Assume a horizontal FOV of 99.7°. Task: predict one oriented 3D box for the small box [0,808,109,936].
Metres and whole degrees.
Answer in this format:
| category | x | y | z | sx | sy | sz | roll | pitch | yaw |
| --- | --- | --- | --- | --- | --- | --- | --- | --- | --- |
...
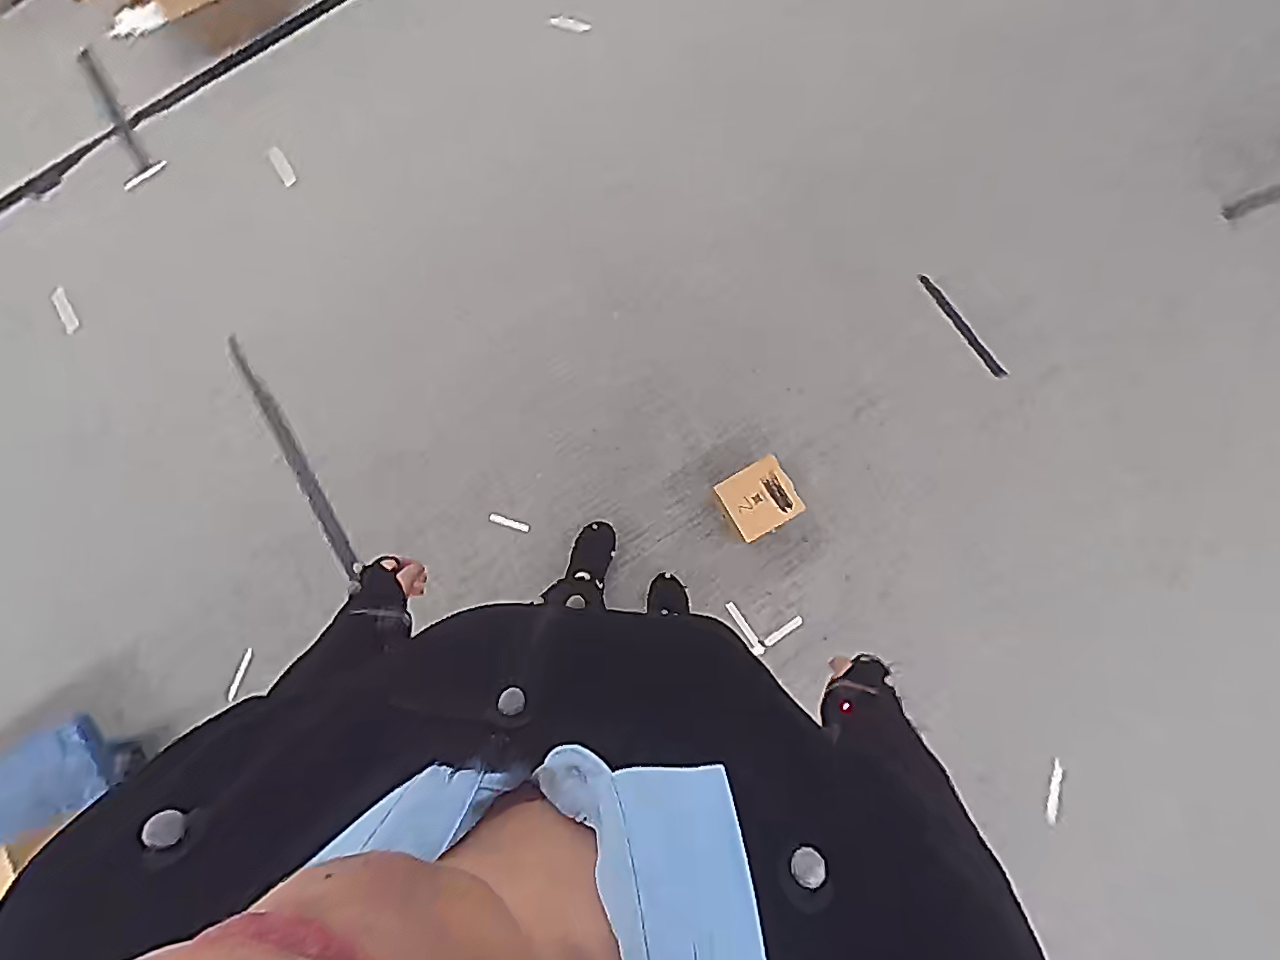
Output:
| category | x | y | z | sx | sy | sz | roll | pitch | yaw |
| --- | --- | --- | --- | --- | --- | --- | --- | --- | --- |
| small box | -1.373 | 0.889 | 1.212 | 0.179 | 0.176 | 0.168 | -34 | 83 | -2 |
